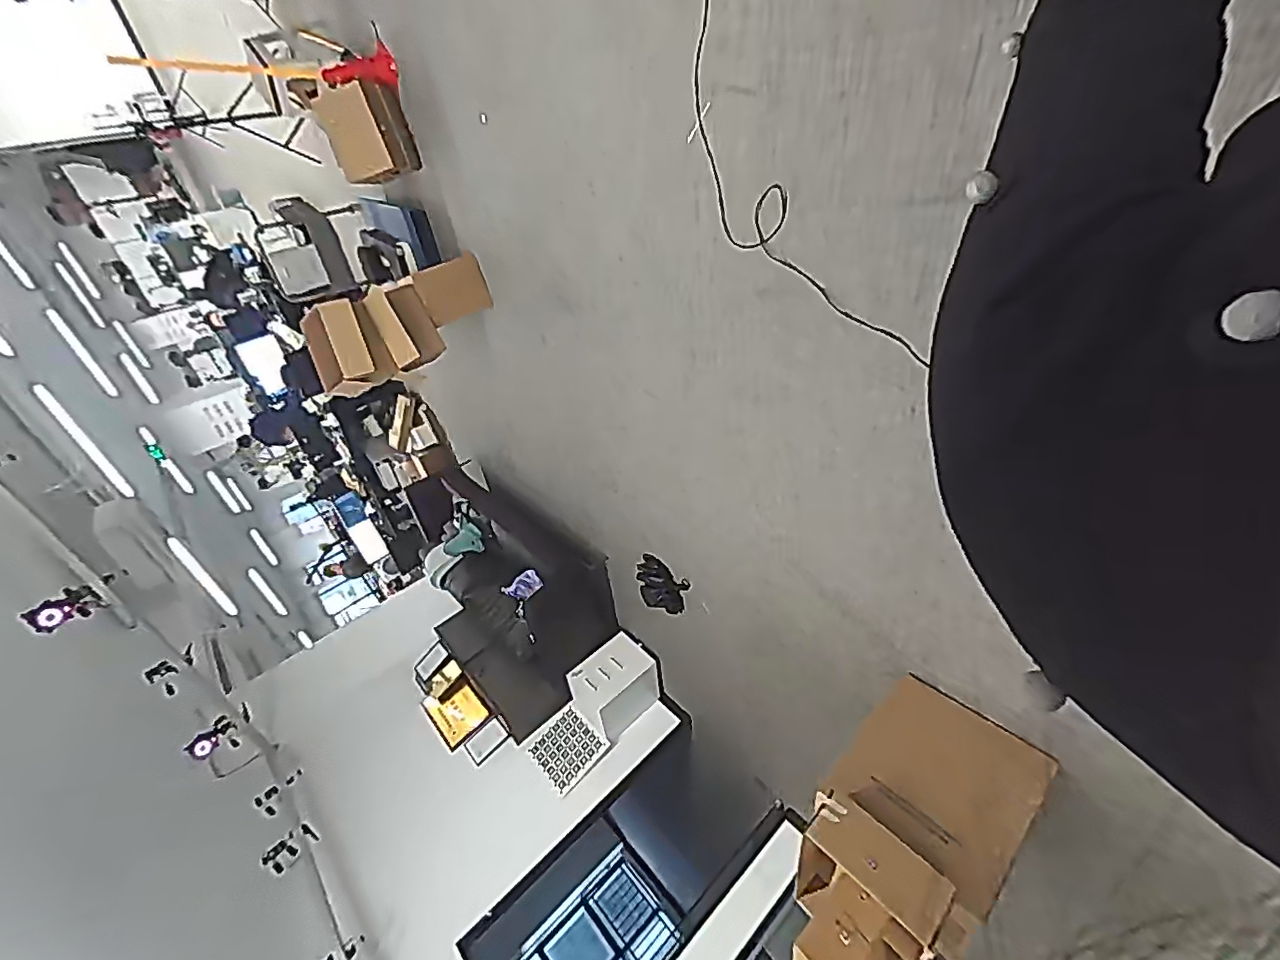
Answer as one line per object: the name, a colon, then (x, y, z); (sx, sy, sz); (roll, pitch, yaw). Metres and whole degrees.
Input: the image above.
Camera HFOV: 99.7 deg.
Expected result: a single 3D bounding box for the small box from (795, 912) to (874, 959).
small box: (0.585, 1.465, 1.625); (0.168, 0.176, 0.179); (26, 137, 42)
